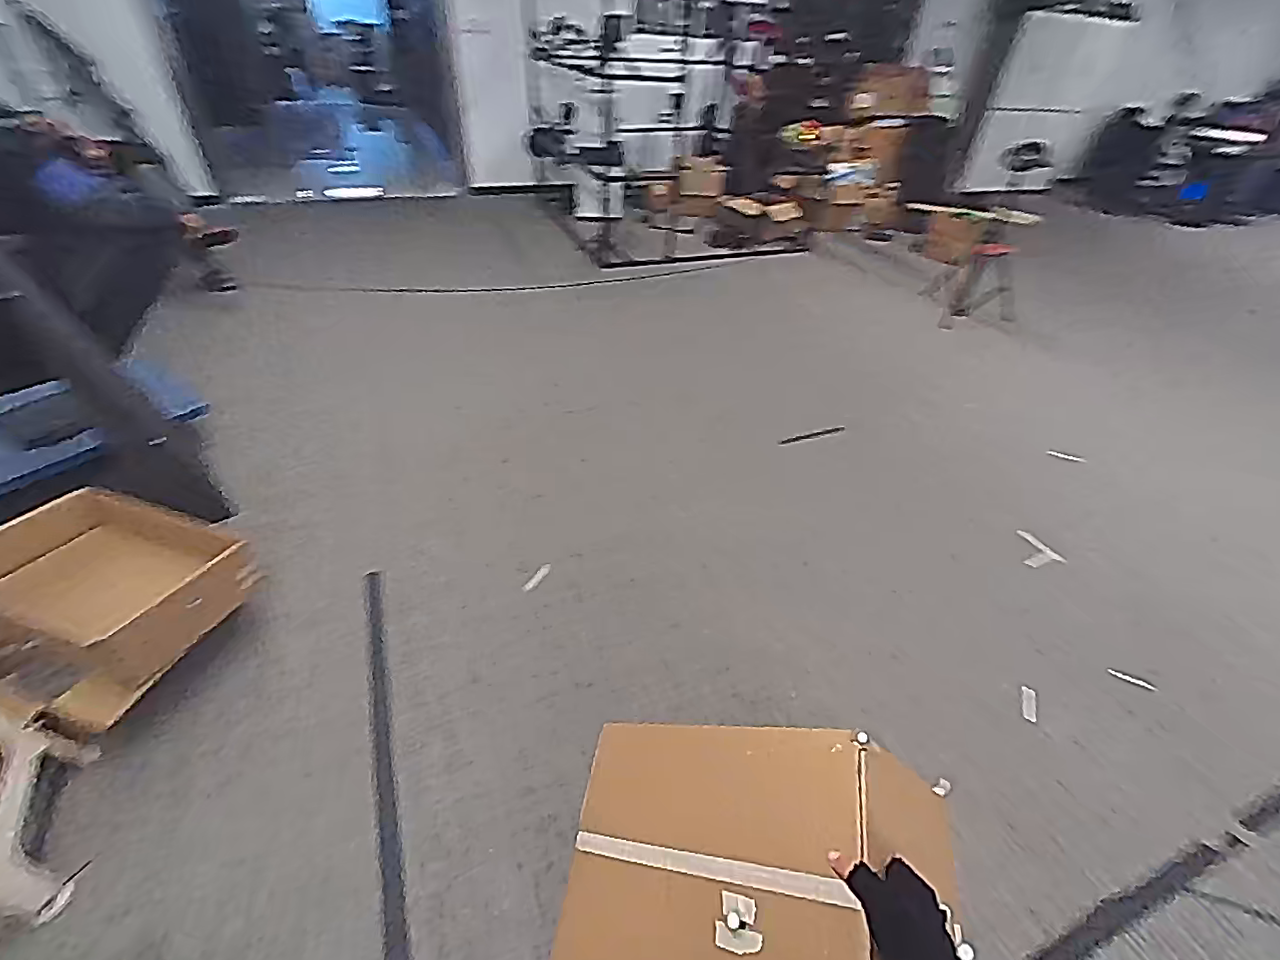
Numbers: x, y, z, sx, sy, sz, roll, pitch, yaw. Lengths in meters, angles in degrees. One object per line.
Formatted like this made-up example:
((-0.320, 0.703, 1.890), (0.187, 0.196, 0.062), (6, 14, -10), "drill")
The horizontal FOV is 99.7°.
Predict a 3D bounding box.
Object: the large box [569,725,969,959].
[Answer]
((0.180, 0.550, 0.734), (0.408, 0.320, 0.320), (-17, 44, 38), "large box")
